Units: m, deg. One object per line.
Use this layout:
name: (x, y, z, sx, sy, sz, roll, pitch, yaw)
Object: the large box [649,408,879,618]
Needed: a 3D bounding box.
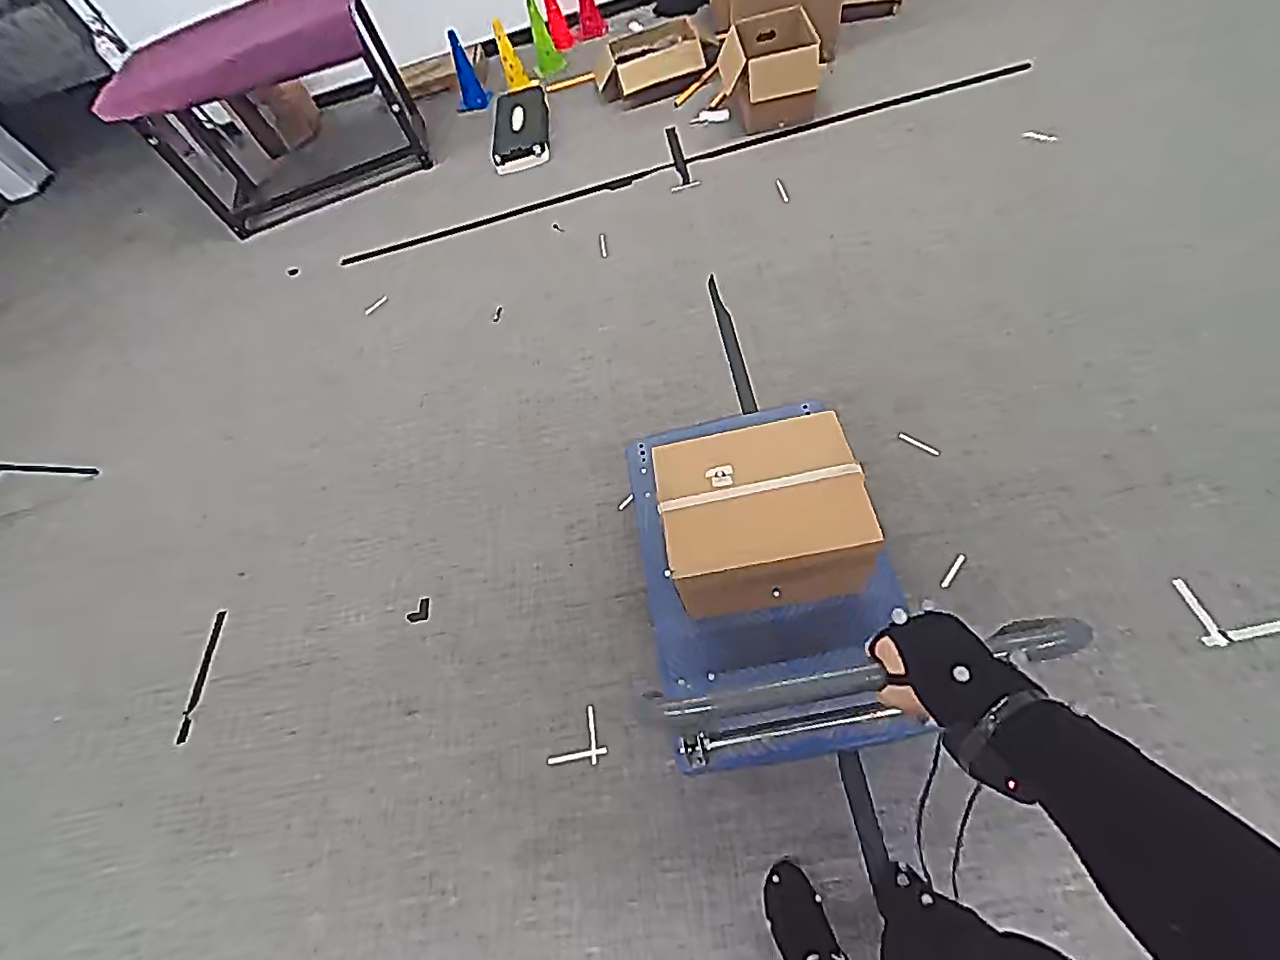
large box: (0.263, 0.090, 1.217, 0.408, 0.320, 0.320, -13, 57, 7)
